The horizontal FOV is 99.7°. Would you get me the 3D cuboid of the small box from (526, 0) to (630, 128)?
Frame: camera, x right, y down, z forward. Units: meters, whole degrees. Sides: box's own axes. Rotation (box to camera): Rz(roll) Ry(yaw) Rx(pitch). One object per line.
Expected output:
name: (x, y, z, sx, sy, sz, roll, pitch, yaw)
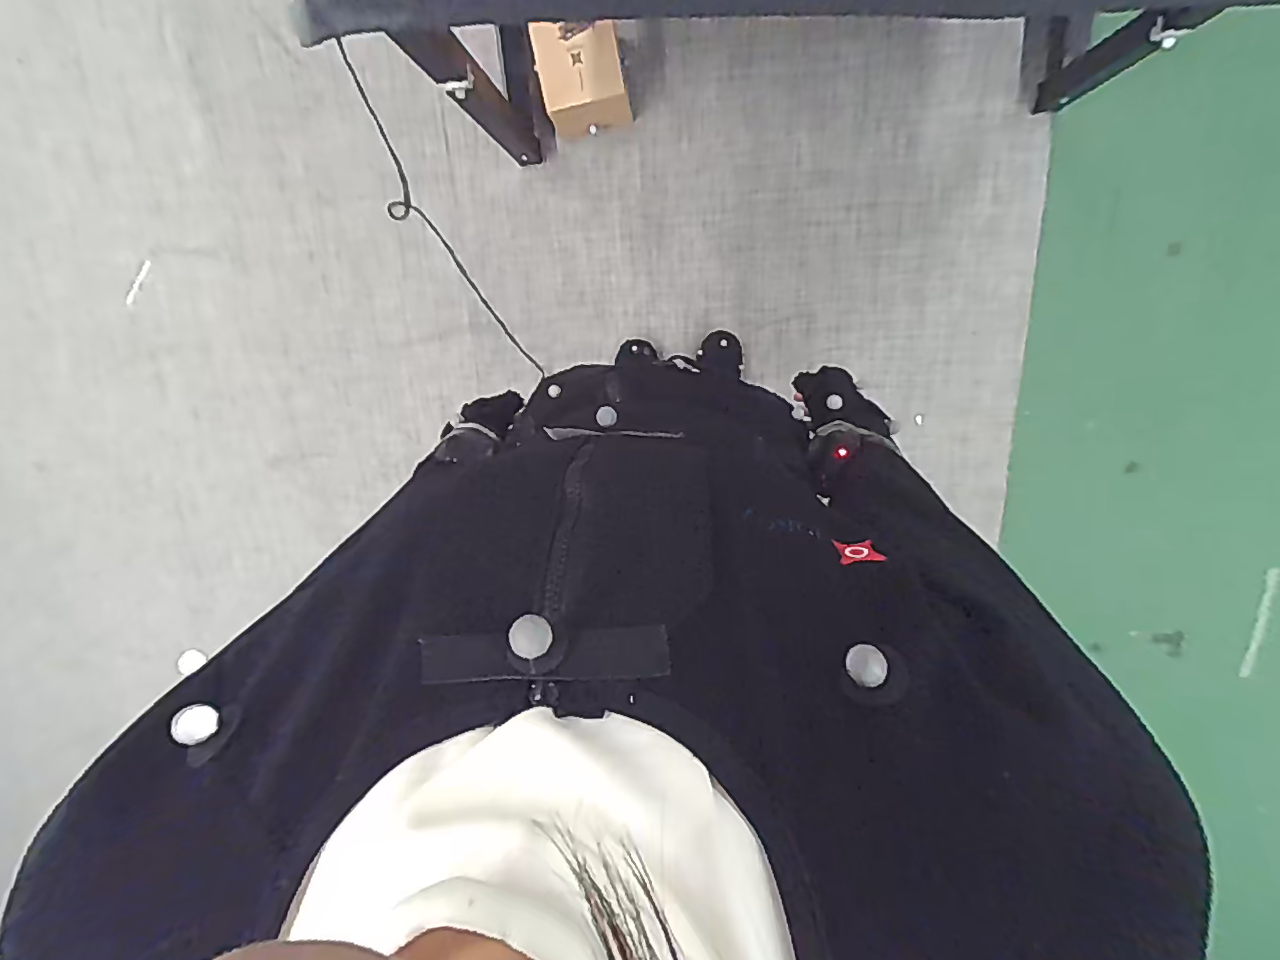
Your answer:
small box: (-0.121, -0.875, 1.127, 0.168, 0.176, 0.179, -10, 106, 7)
